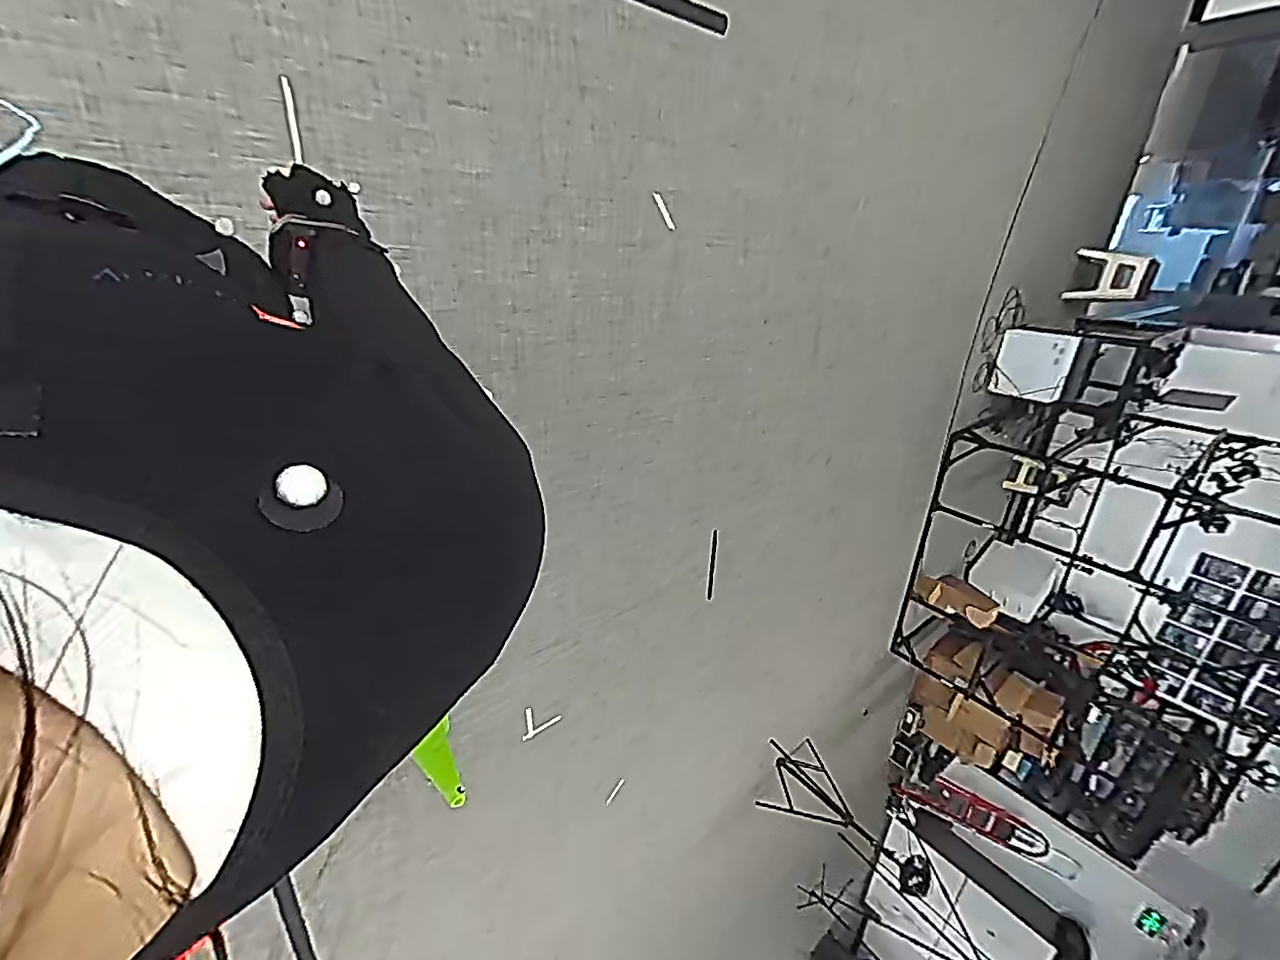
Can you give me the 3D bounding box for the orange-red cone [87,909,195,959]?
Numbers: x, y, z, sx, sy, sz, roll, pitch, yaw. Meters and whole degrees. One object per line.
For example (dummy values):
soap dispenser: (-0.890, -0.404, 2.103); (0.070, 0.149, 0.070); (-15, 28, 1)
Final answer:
orange-red cone: (-1.227, 1.325, 1.331); (0.199, 0.360, 0.198); (-9, 114, -38)
